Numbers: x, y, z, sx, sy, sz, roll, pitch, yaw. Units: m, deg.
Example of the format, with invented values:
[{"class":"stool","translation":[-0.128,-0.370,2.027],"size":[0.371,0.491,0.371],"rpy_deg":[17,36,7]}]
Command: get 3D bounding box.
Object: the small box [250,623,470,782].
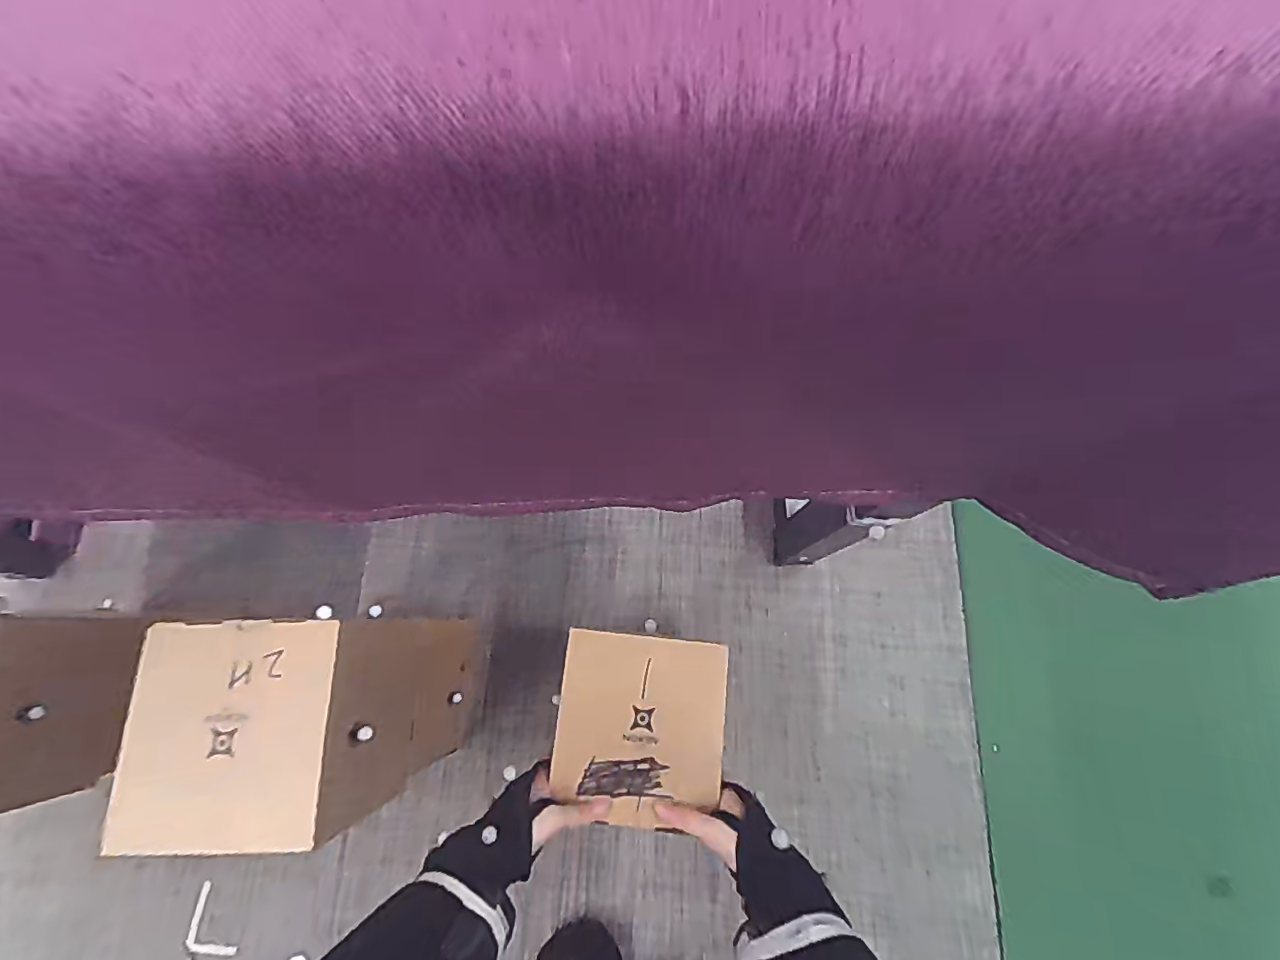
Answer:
[{"class":"small box","translation":[-0.336,0.270,0.684],"size":[0.179,0.176,0.168],"rpy_deg":[0,74,1]}]
